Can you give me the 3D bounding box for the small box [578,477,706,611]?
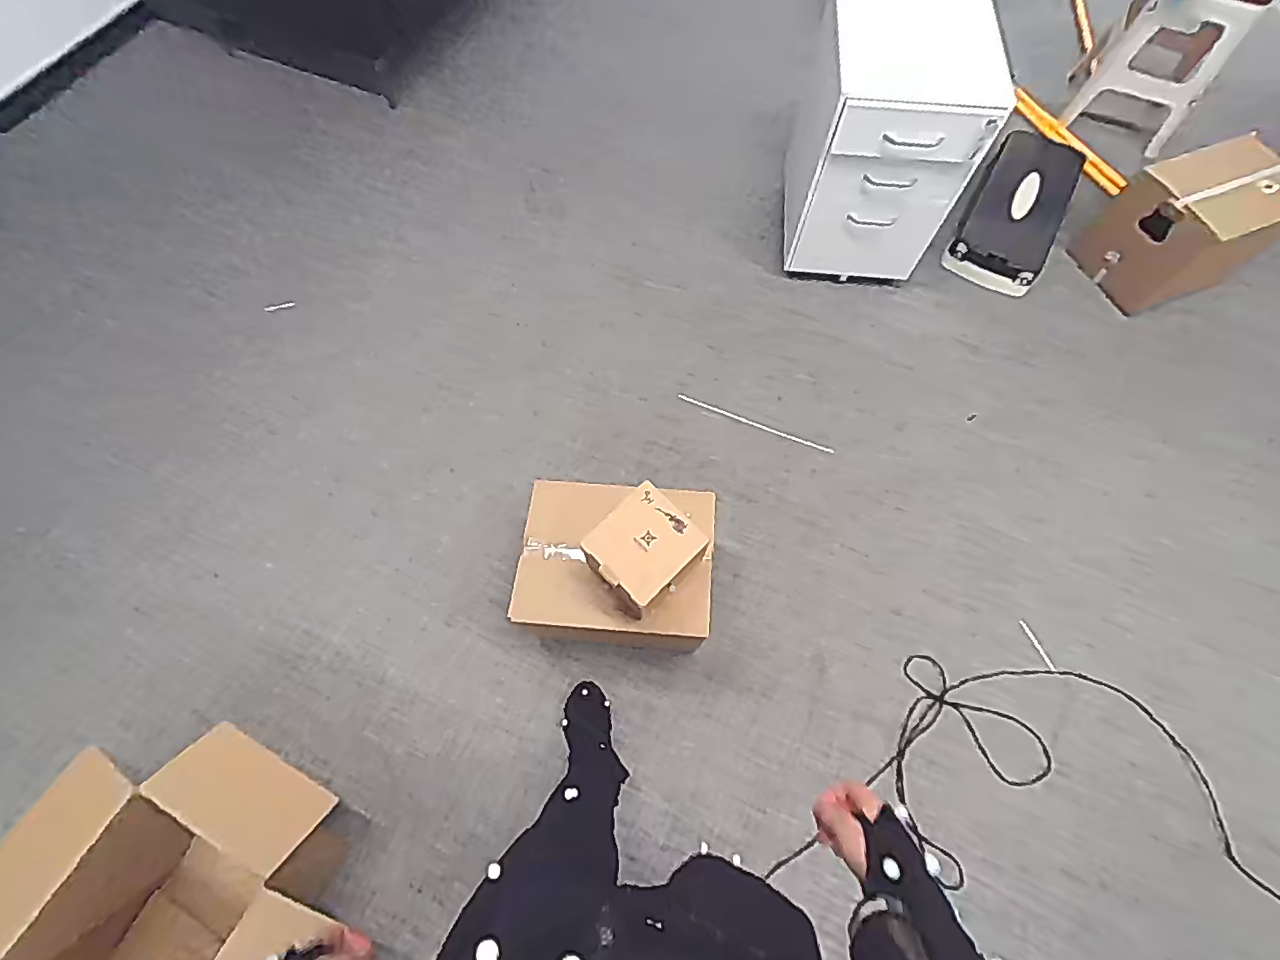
[{"bbox_3d":[0.007,0.131,1.046,0.179,0.176,0.168,-43,74,-14],"label":"small box"}]
